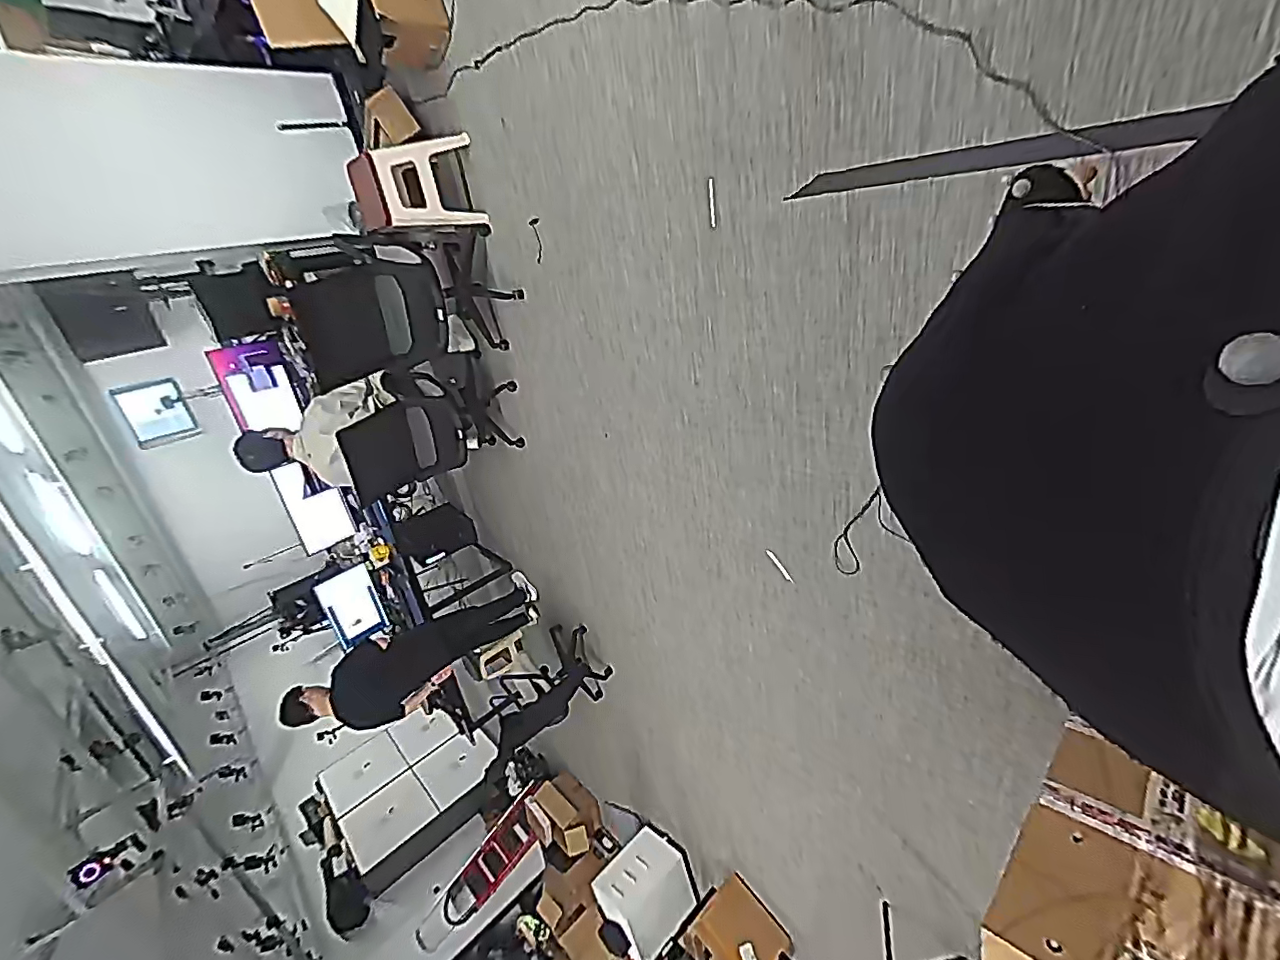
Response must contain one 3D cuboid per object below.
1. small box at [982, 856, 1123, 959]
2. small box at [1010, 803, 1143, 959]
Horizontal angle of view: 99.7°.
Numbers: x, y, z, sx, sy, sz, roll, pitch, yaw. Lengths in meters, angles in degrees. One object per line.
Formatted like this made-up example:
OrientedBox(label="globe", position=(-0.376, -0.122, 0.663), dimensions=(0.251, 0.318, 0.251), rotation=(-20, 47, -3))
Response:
OrientedBox(label="small box", position=(0.749, 0.844, 0.982), dimensions=(0.179, 0.176, 0.168), rotation=(8, 115, 49))
OrientedBox(label="small box", position=(0.870, 0.794, 1.084), dimensions=(0.179, 0.176, 0.168), rotation=(8, 115, 49))
